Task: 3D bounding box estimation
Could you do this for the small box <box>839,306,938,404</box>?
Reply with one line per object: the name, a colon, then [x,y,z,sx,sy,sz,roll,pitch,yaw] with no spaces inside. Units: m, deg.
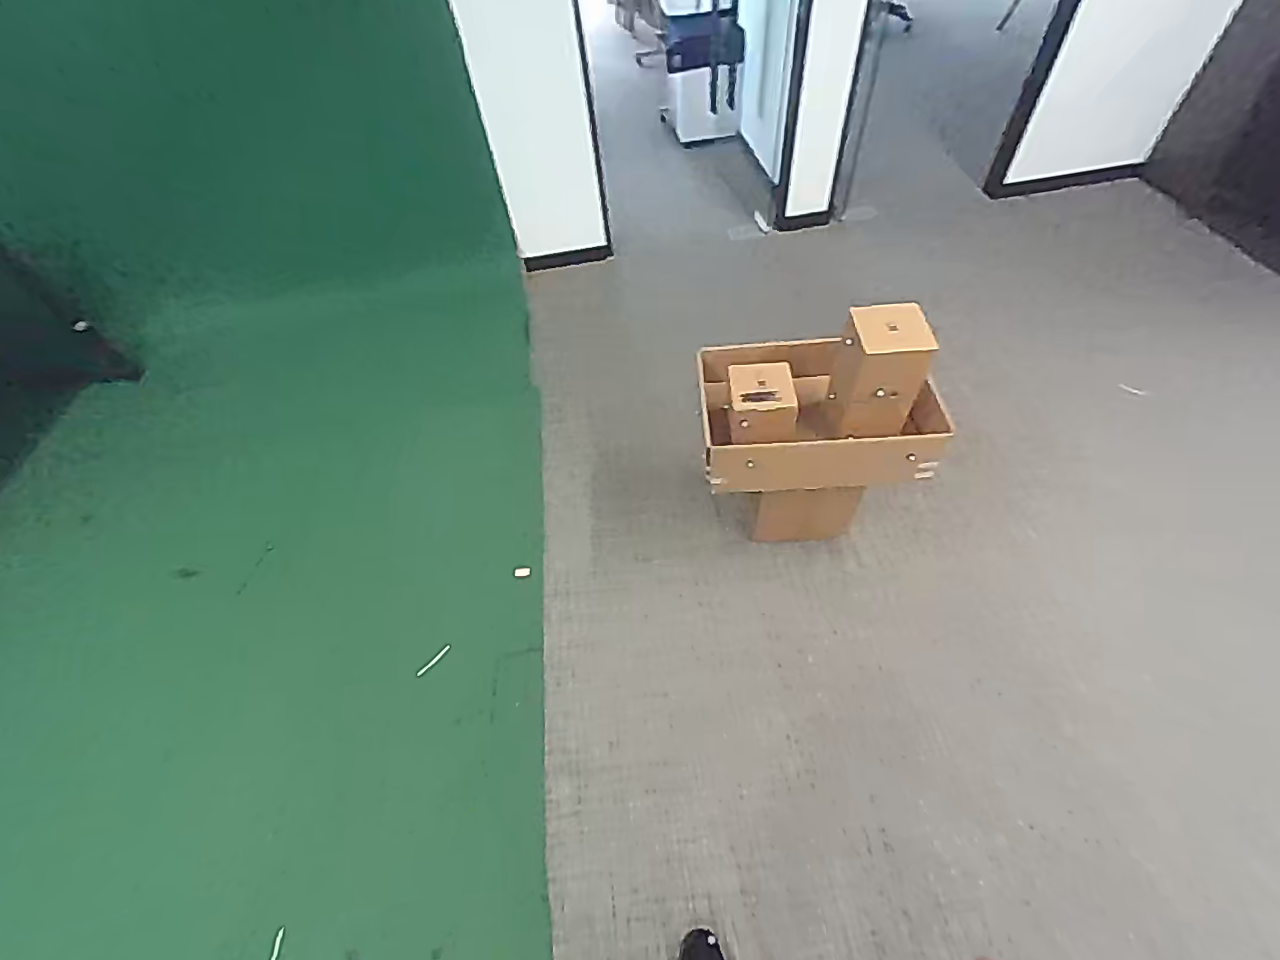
small box: [0.610,-0.312,1.355,0.168,0.176,0.179,-2,53,5]
